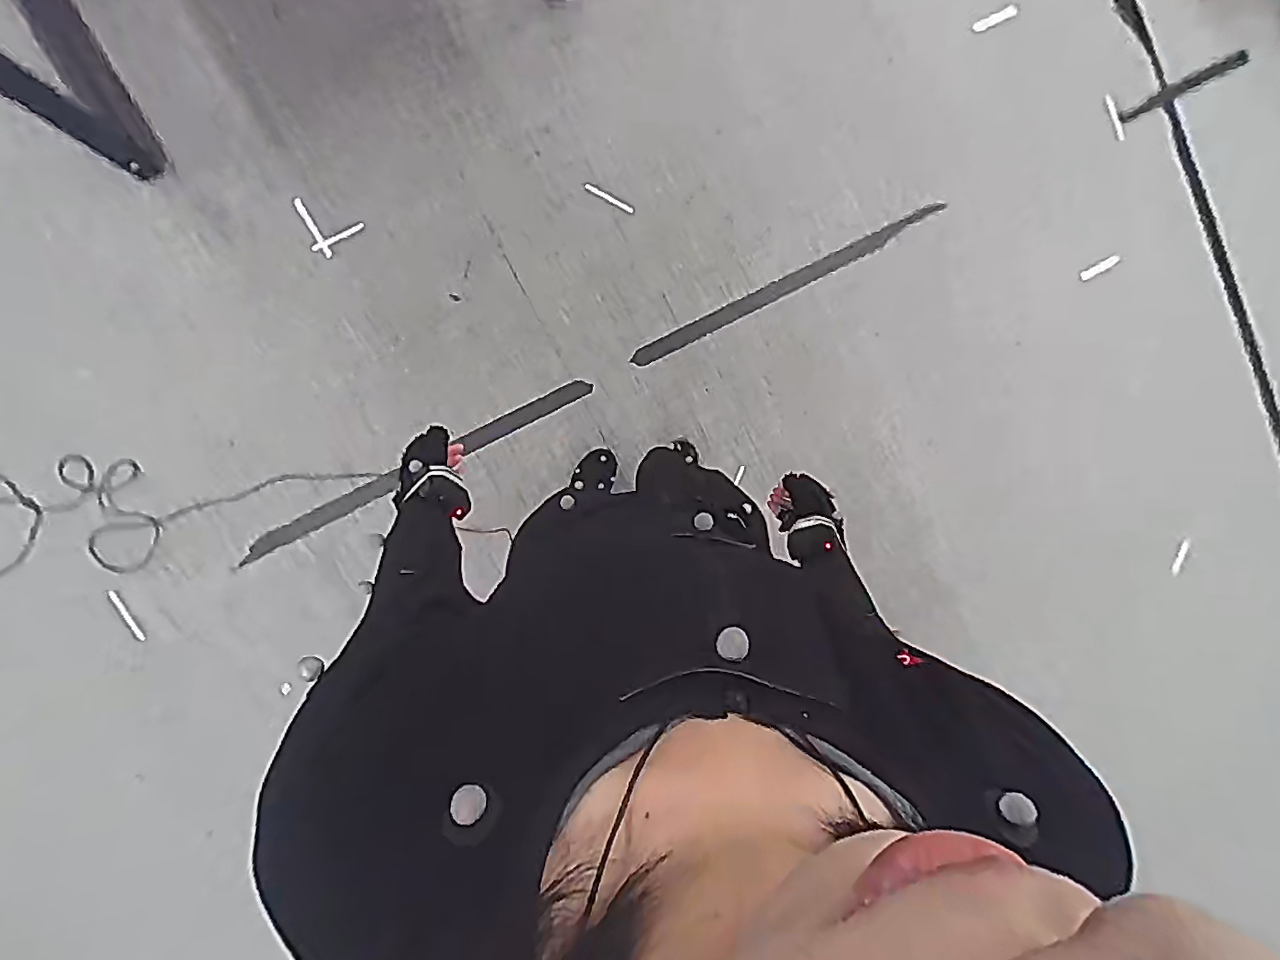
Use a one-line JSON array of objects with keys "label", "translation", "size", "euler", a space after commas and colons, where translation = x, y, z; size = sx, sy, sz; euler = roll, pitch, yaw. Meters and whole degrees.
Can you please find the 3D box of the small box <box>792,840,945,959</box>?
[{"label": "small box", "translation": [0.385, 0.780, 0.926], "size": [0.179, 0.176, 0.168], "euler": [-37, 97, -4]}]
